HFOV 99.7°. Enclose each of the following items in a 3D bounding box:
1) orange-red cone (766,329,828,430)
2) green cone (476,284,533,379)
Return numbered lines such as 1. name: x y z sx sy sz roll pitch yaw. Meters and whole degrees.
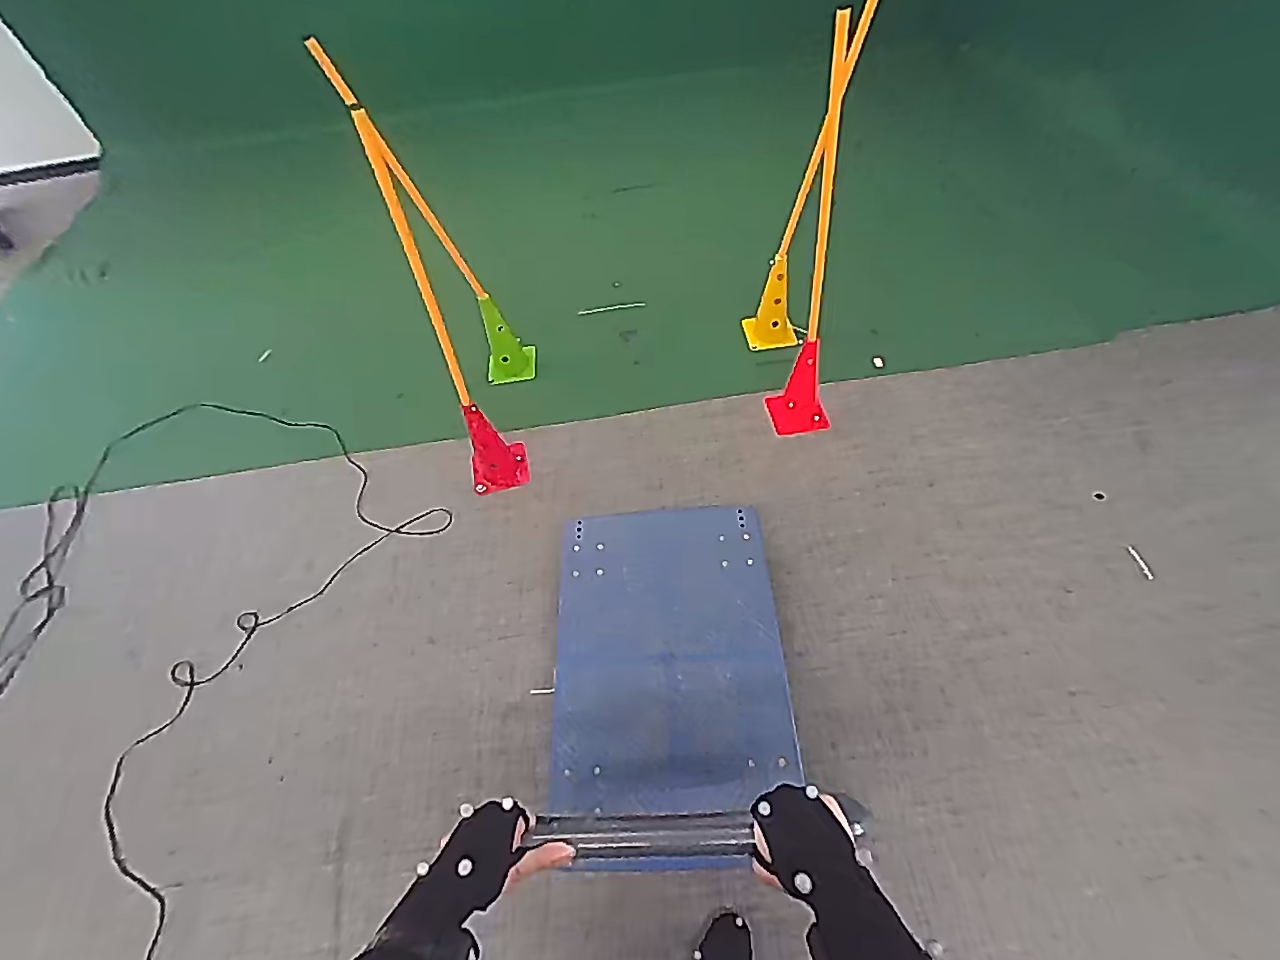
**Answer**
1. orange-red cone: 0.564 -0.366 1.859 0.198 0.360 0.199 -8 53 0
2. green cone: -0.566 -0.607 2.144 0.200 0.368 0.202 -9 54 1
